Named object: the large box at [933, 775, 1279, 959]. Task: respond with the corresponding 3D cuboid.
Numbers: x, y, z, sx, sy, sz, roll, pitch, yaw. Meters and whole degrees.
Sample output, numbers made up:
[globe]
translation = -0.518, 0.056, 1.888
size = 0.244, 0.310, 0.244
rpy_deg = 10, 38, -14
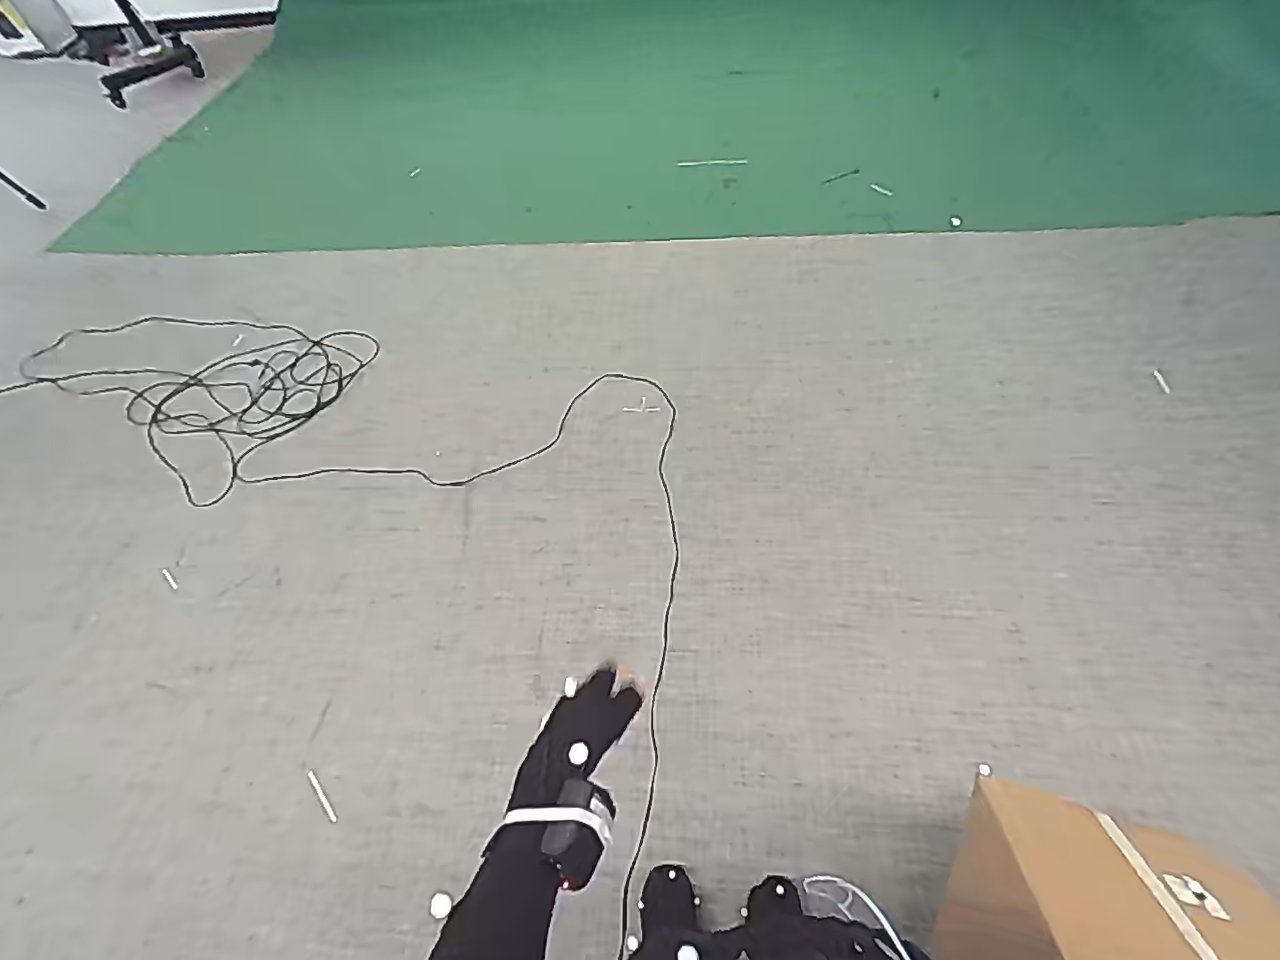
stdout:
[large box]
translation = 0.576, 0.645, 0.625
size = 0.320, 0.408, 0.320
rpy_deg = 13, 97, 17
